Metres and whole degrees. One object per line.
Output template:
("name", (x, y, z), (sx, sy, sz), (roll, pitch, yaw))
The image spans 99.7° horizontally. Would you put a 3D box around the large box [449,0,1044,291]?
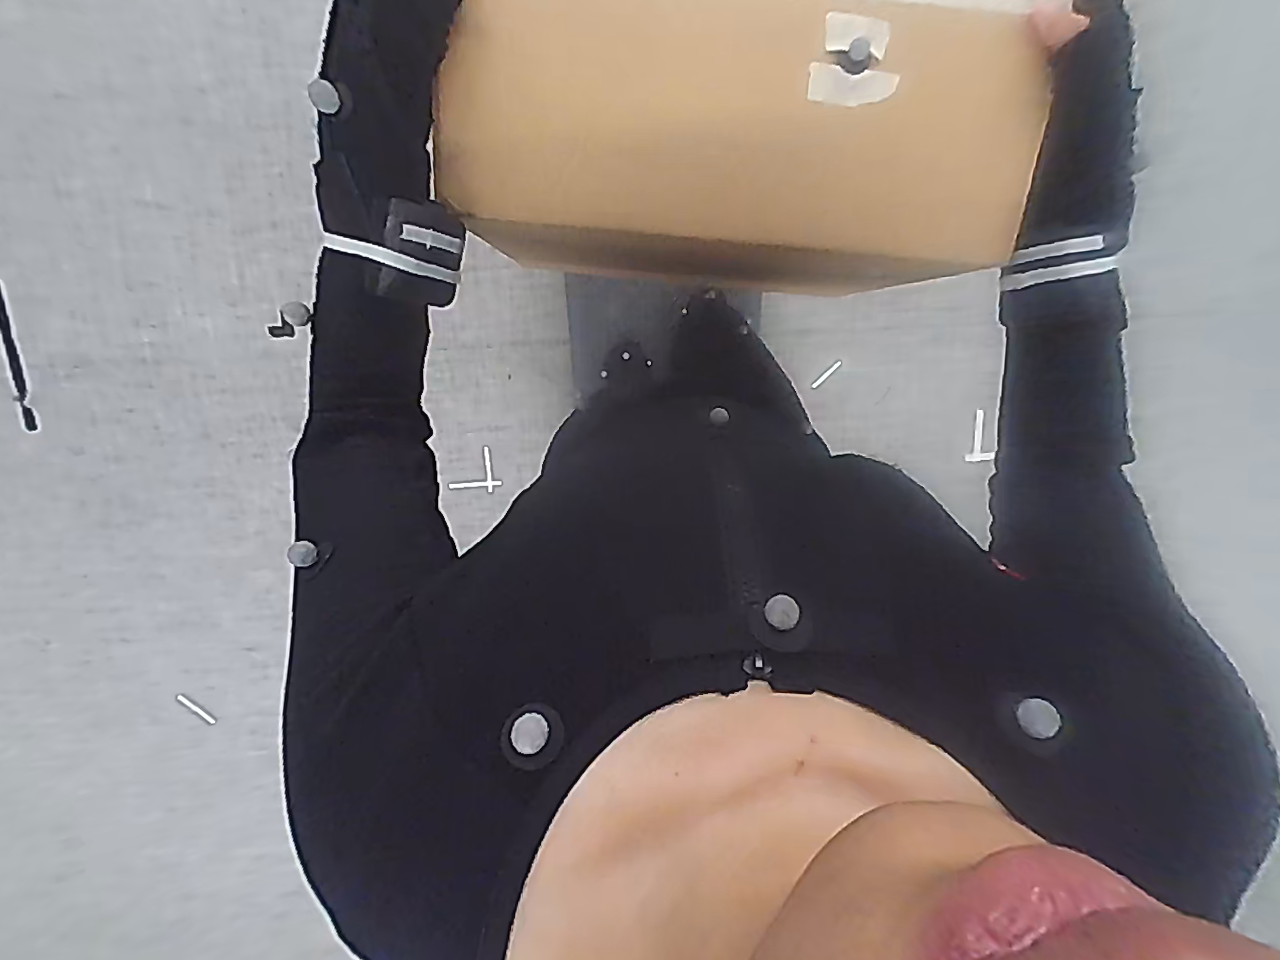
("large box", (0.067, -0.363, 0.500), (0.408, 0.320, 0.320), (4, 105, -3))
